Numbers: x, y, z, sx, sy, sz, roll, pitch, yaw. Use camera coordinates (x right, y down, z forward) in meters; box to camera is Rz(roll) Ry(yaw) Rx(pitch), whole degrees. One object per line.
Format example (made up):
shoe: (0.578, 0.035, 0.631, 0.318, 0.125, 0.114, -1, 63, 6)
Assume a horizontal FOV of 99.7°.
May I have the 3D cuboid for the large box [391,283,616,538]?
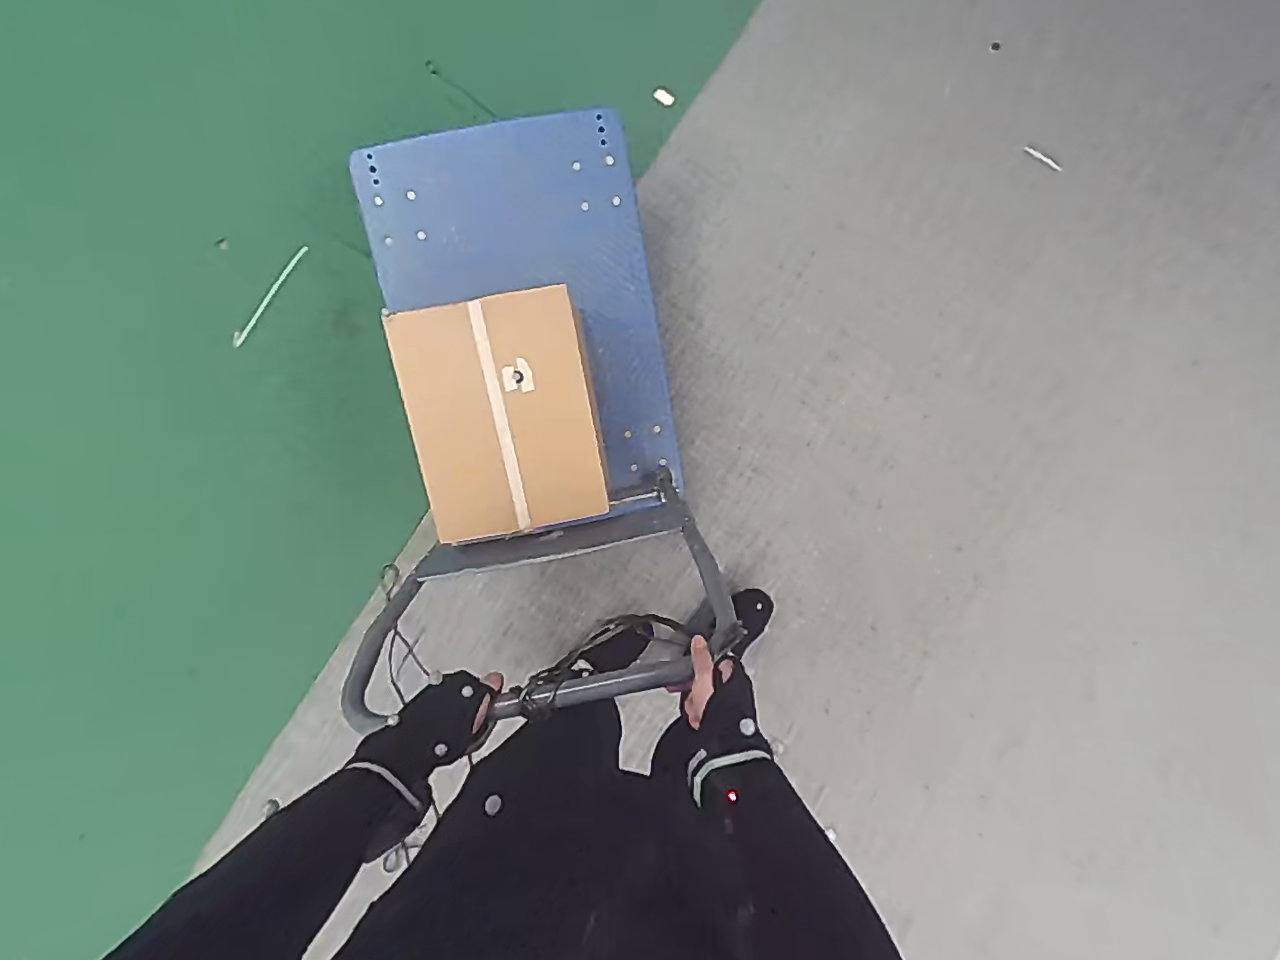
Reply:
large box: (-0.237, -0.138, 1.089, 0.320, 0.320, 0.408, -11, 101, -1)
